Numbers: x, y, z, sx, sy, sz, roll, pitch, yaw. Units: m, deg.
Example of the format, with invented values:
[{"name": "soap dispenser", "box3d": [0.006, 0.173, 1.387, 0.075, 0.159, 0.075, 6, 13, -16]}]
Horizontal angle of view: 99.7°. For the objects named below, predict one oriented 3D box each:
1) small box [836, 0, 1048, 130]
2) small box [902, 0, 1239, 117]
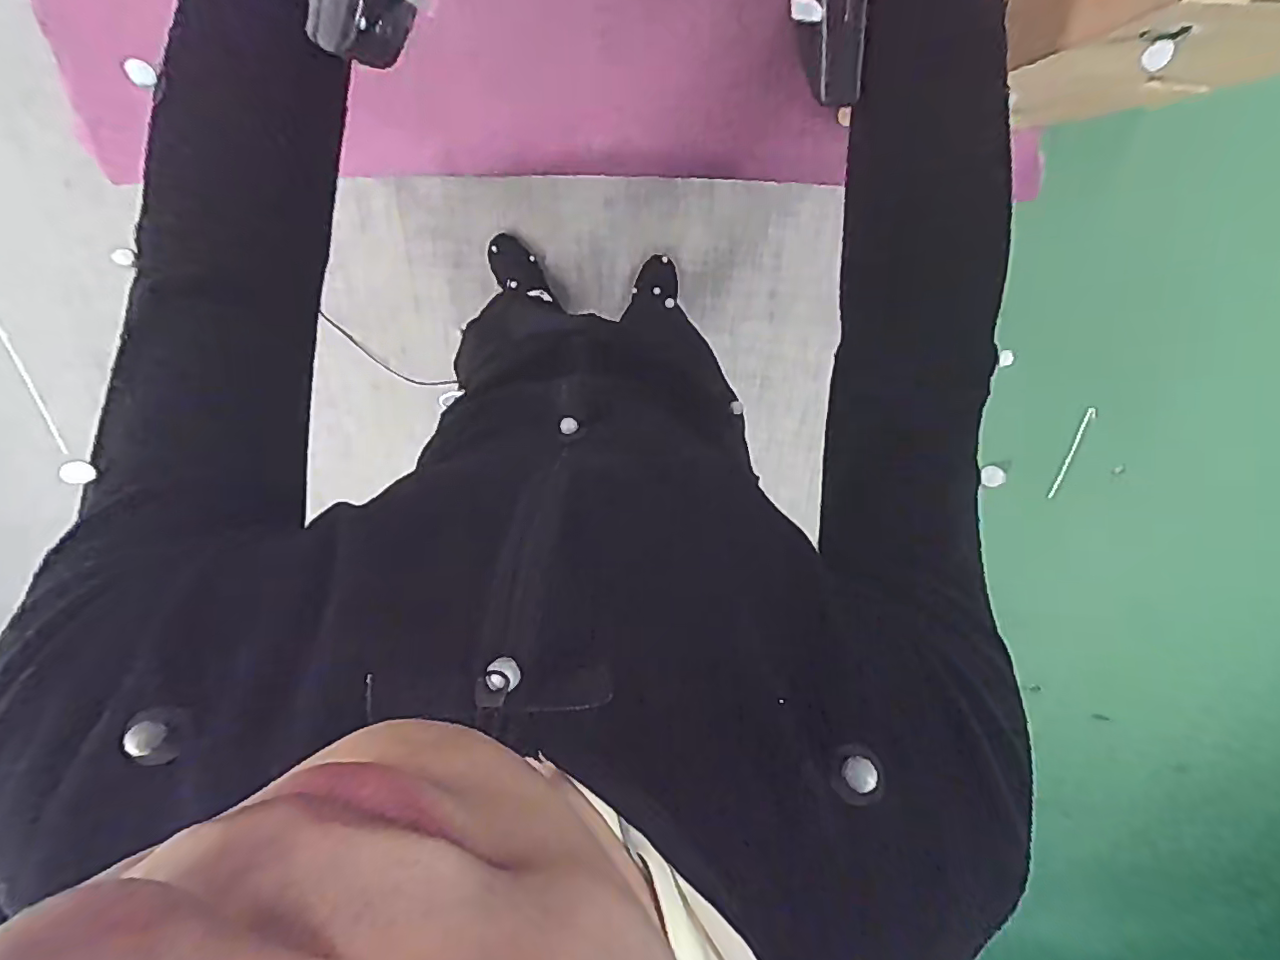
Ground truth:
[{"name": "small box", "box3d": [0.335, -0.481, 0.572, 0.179, 0.176, 0.168, 4, 117, -2]}, {"name": "small box", "box3d": [0.336, -0.408, 0.426, 0.168, 0.176, 0.179, 5, 118, -1]}]
